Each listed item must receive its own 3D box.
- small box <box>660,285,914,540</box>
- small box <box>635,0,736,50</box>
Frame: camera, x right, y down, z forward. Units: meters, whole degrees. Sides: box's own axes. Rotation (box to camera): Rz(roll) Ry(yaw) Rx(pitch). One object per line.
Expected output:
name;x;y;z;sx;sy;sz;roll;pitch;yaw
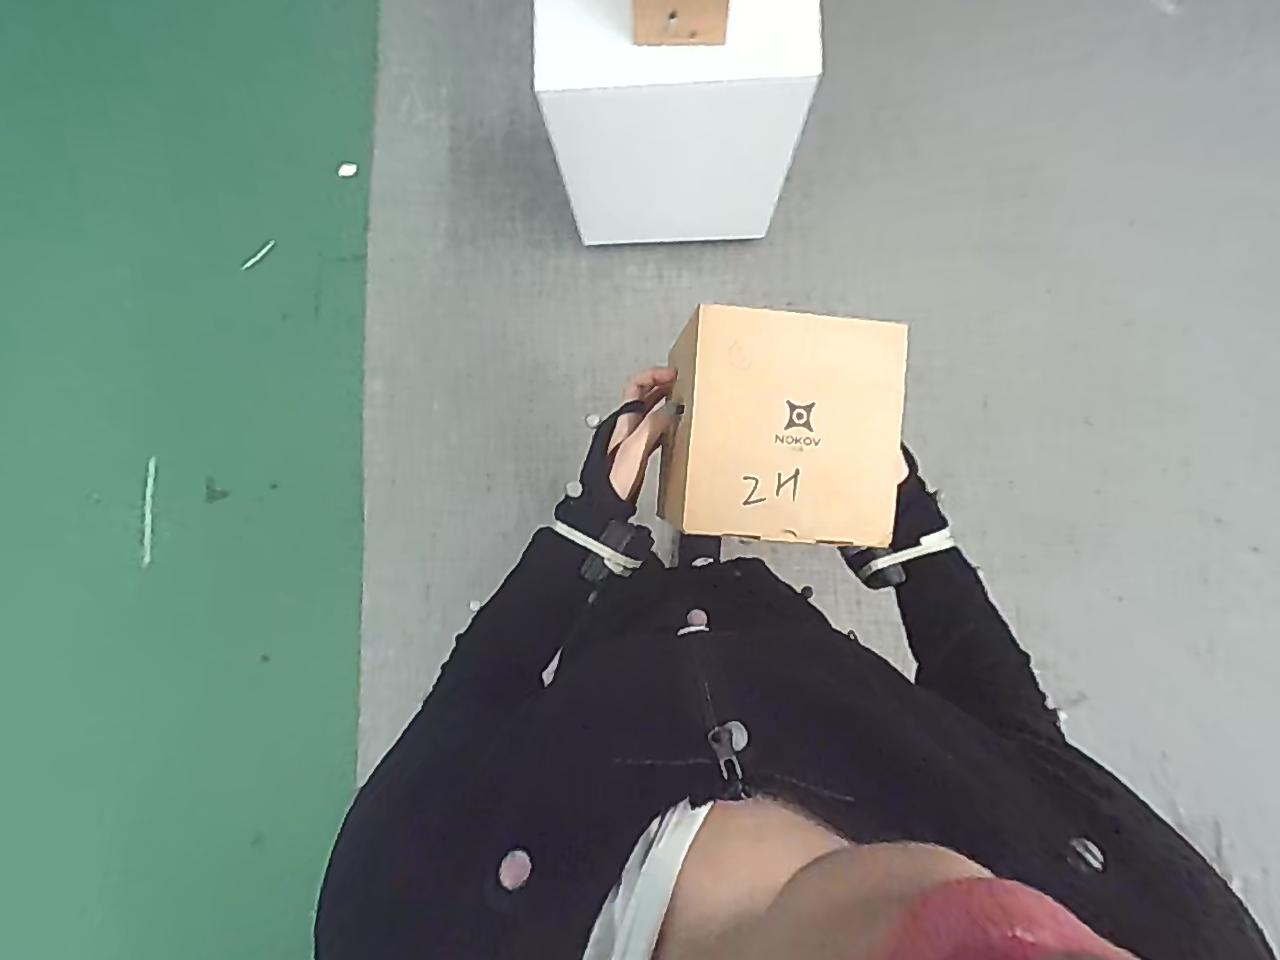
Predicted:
small box;0.110;-0.046;0.470;0.168;0.176;0.179;4;89;-4
small box;0.076;-0.857;0.884;0.168;0.176;0.179;2;85;4
